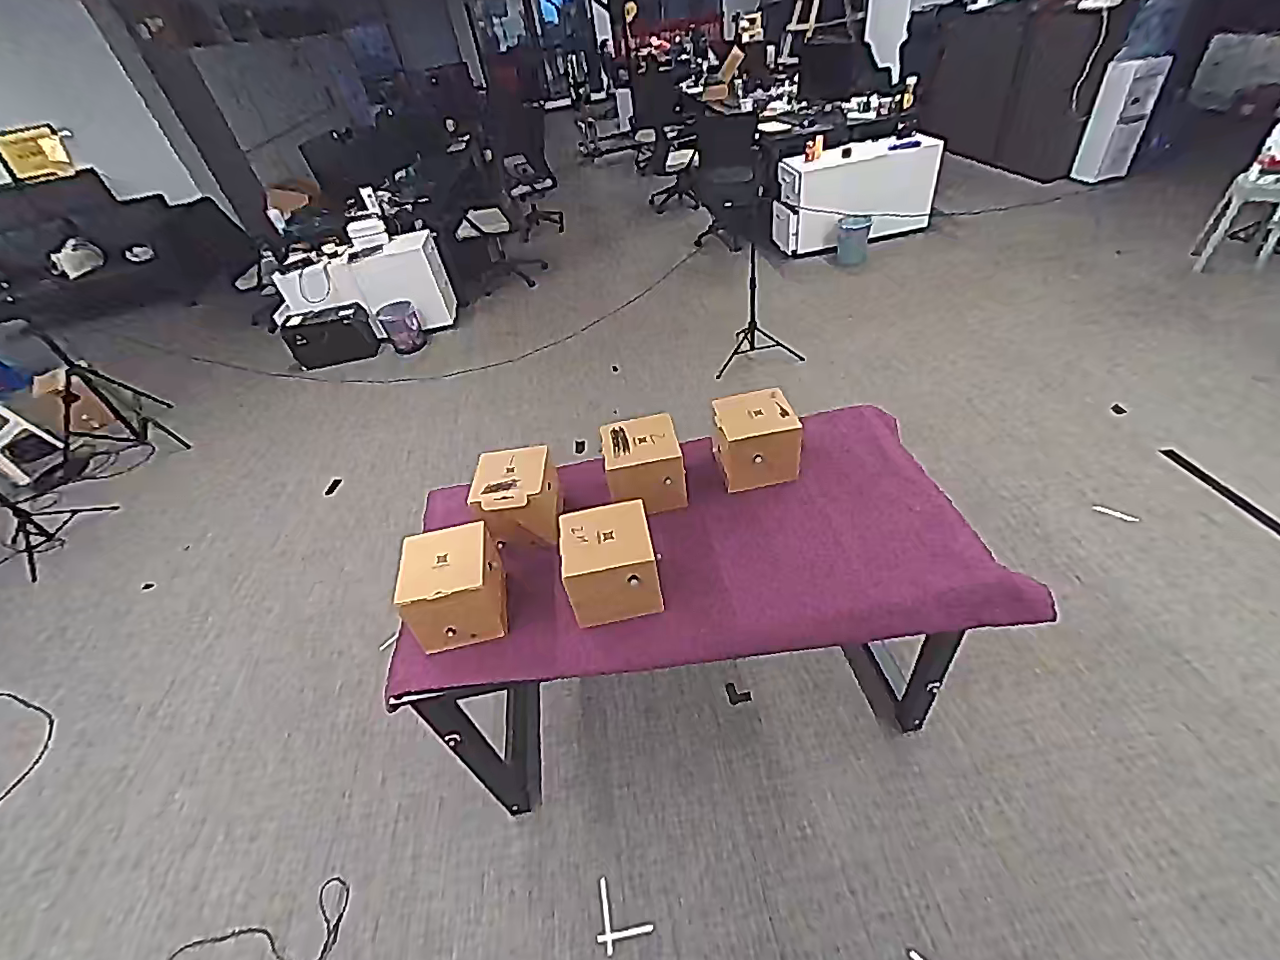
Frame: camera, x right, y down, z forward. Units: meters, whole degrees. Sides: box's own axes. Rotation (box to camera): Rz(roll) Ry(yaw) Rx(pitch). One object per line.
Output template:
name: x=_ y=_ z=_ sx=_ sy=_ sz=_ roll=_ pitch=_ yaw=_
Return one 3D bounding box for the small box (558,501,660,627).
small box: x=-0.059 y=0.170 z=1.088 sx=0.179 sy=0.176 sz=0.168 roll=-12 pitch=42 yaw=-1

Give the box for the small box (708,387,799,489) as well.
small box: x=0.274 y=-0.097 z=1.311 sx=0.179 sy=0.176 sz=0.168 roll=-12 pitch=44 yaw=0

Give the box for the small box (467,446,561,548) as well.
small box: x=-0.287 y=0.047 z=1.273 sx=0.168 sy=0.176 sz=0.179 roll=-7 pitch=42 yaw=3

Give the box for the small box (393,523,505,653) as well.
small box: x=-0.378 y=0.219 z=1.099 sx=0.168 sy=0.176 sz=0.179 roll=-13 pitch=42 yaw=-5
